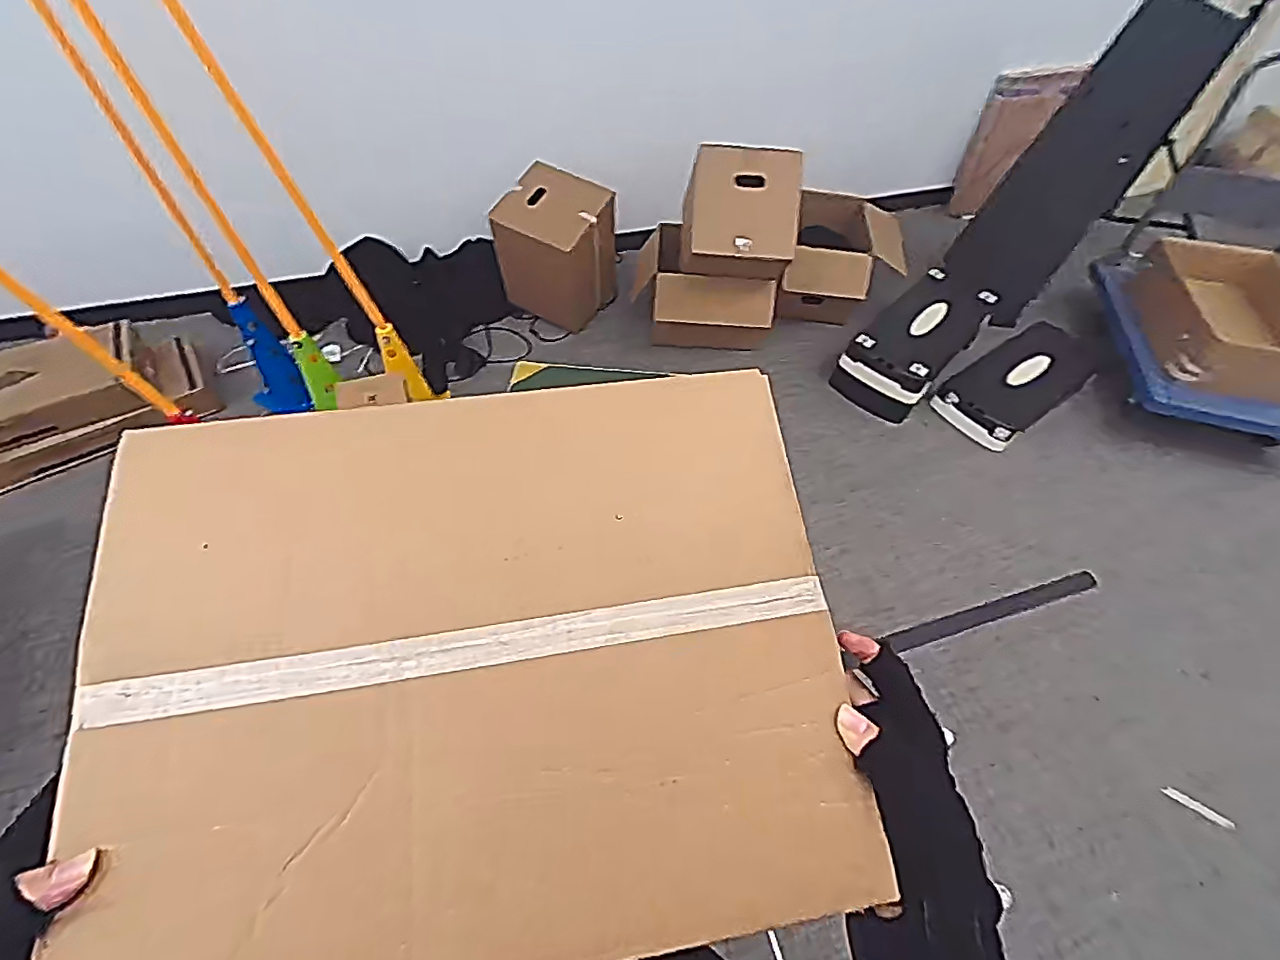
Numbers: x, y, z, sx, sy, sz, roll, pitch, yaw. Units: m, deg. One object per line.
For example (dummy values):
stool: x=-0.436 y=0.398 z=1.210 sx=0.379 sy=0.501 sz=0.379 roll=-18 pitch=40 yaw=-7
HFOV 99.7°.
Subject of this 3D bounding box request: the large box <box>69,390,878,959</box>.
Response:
large box: x=-0.098 y=0.152 z=0.450 sx=0.408 sy=0.320 sz=0.320 roll=-7 pitch=71 yaw=-6
